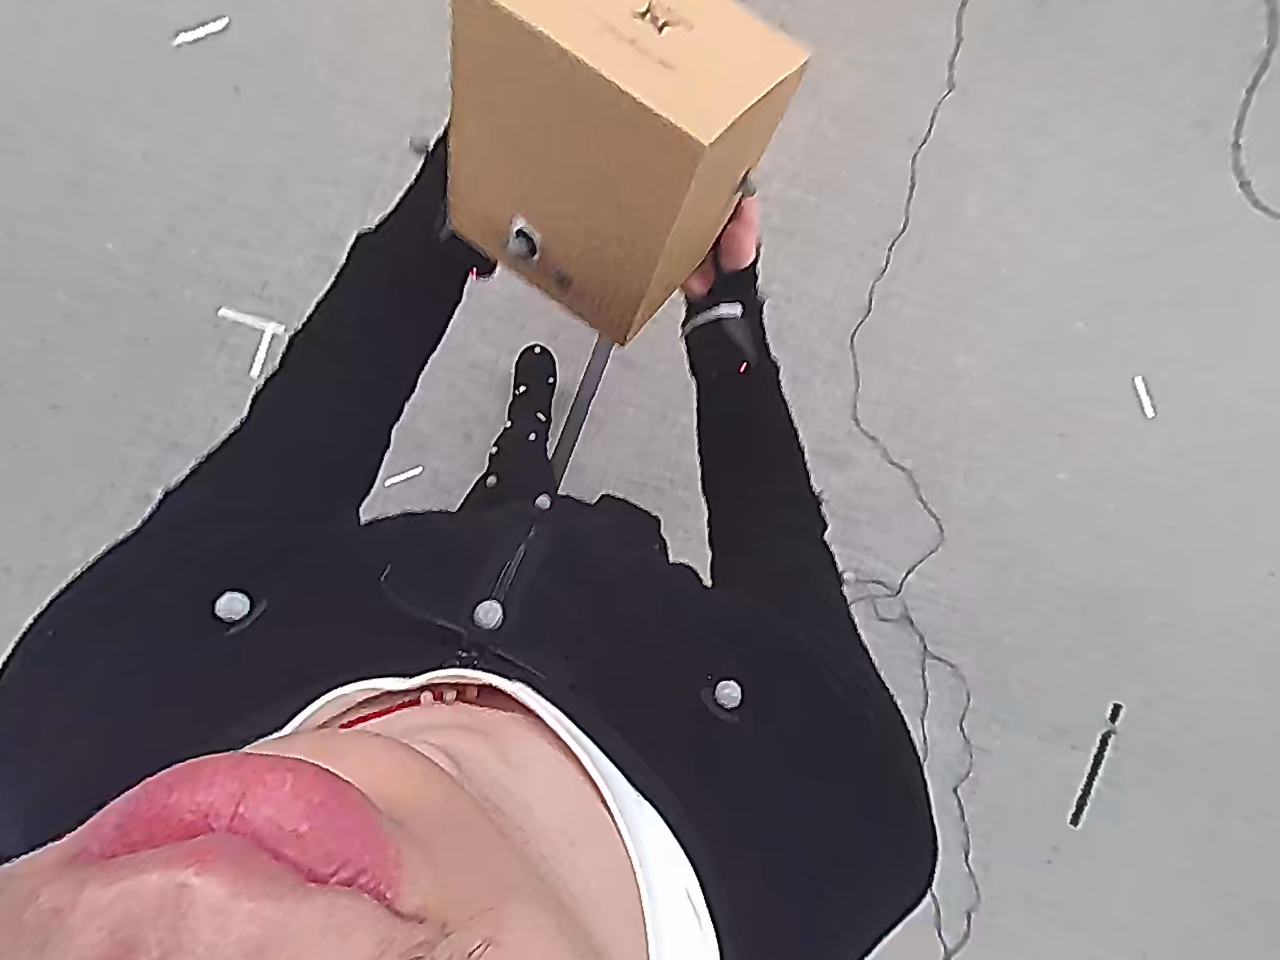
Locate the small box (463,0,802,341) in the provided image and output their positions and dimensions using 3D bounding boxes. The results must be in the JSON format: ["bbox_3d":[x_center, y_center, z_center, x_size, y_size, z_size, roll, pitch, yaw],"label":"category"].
[{"bbox_3d":[-0.016,-0.243,0.402,0.168,0.176,0.179,34,57,0],"label":"small box"}]
